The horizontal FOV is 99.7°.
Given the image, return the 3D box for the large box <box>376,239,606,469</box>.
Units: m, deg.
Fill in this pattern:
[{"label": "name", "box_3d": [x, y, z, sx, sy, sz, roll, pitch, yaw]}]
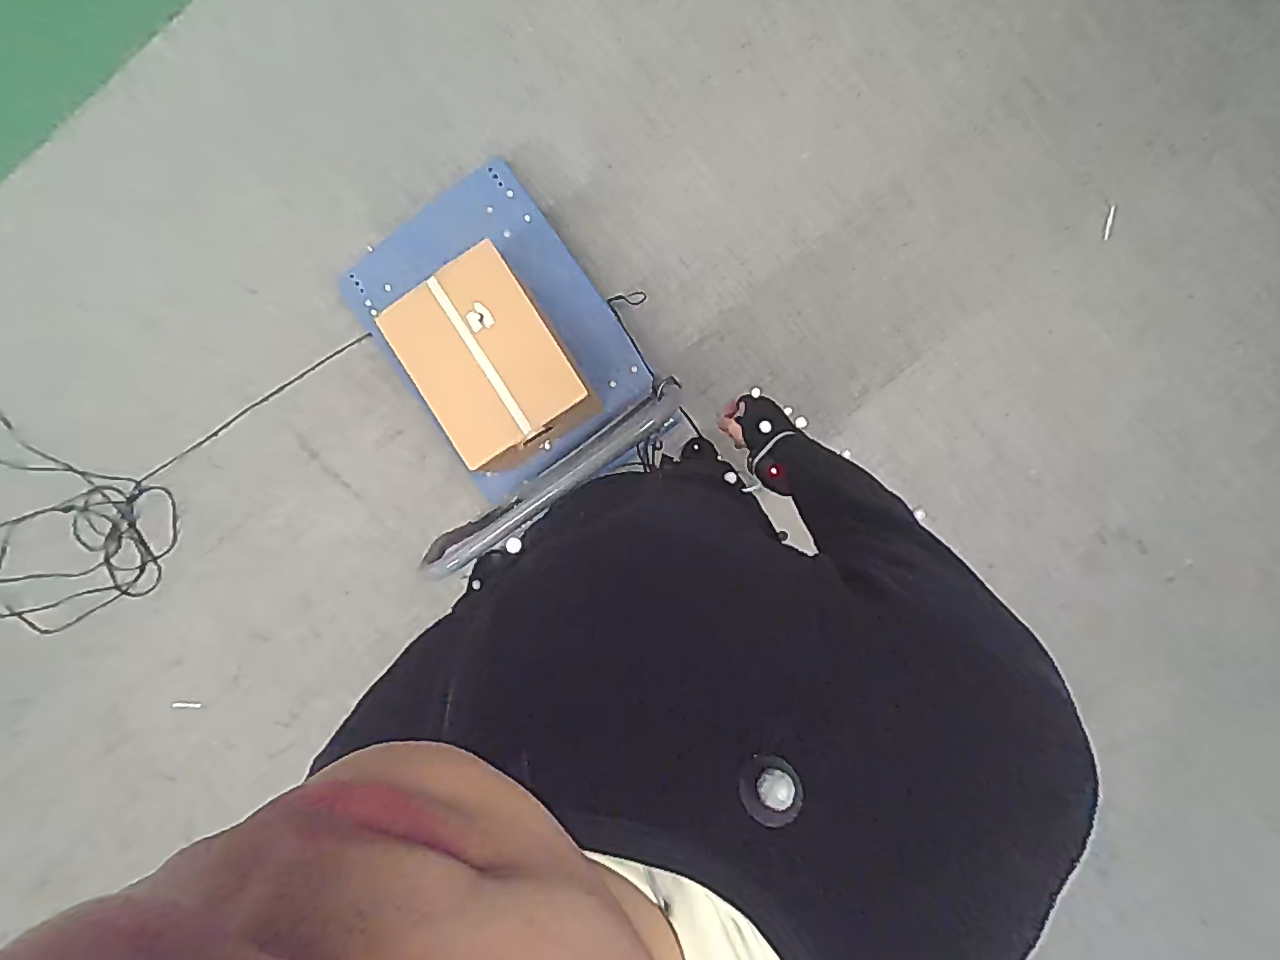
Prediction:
[{"label": "large box", "box_3d": [-0.330, -0.275, 1.308, 0.320, 0.320, 0.408, -32, 90, 4]}]
